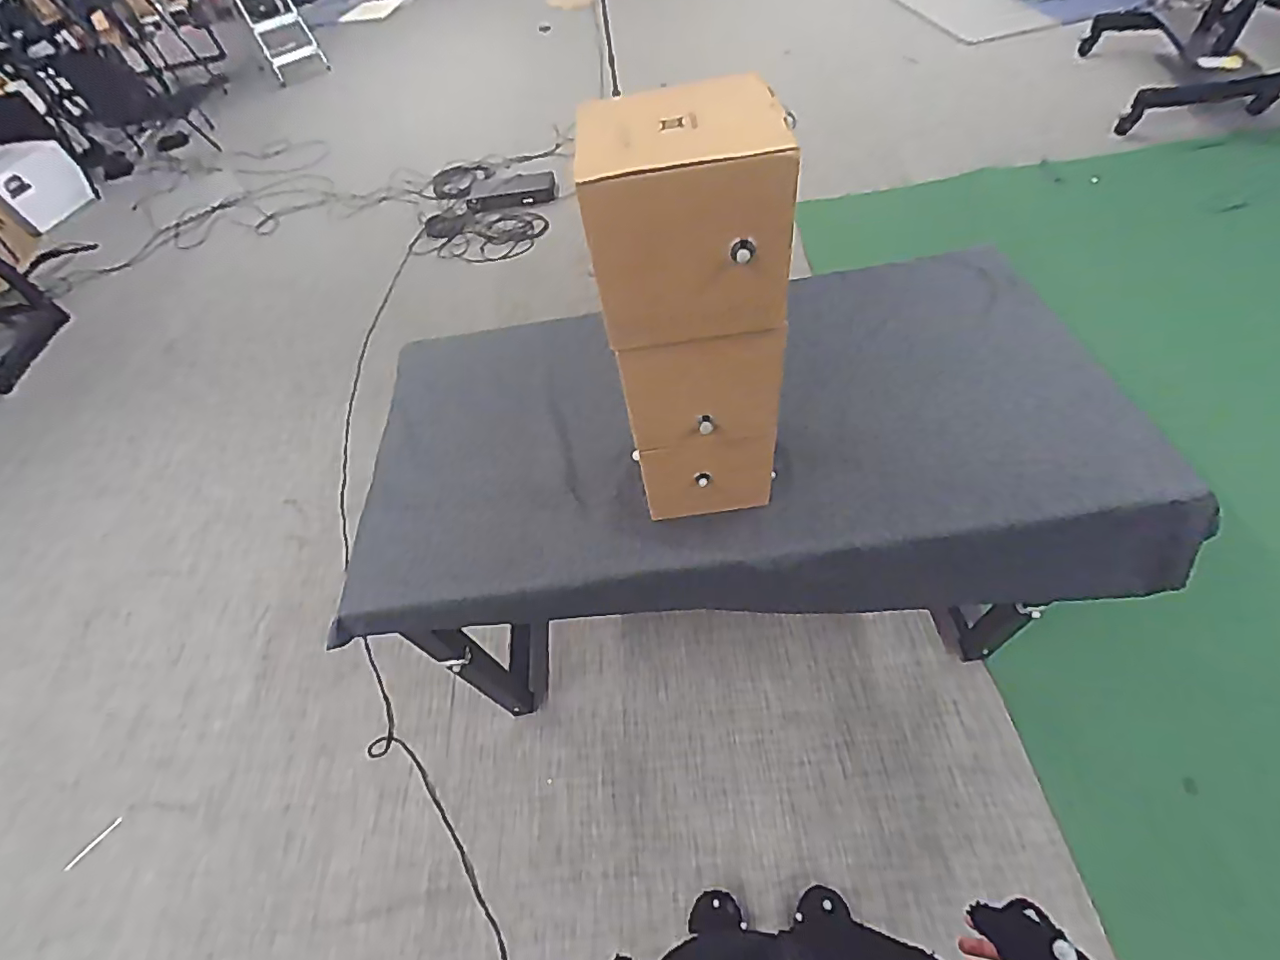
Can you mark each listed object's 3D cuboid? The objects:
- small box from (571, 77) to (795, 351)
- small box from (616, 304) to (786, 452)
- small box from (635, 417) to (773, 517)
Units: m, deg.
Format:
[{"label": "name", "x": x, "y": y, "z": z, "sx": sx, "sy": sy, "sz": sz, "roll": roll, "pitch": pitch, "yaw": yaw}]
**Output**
[{"label": "small box", "x": 0.040, "y": -0.249, "z": 0.524, "sx": 0.179, "sy": 0.176, "sz": 0.168, "roll": -8, "pitch": 52, "yaw": 6}, {"label": "small box", "x": 0.065, "y": -0.155, "z": 0.658, "sx": 0.179, "sy": 0.176, "sz": 0.168, "roll": -10, "pitch": 54, "yaw": 3}, {"label": "small box", "x": 0.086, "y": -0.064, "z": 0.788, "sx": 0.179, "sy": 0.176, "sz": 0.168, "roll": -8, "pitch": 53, "yaw": 5}]
